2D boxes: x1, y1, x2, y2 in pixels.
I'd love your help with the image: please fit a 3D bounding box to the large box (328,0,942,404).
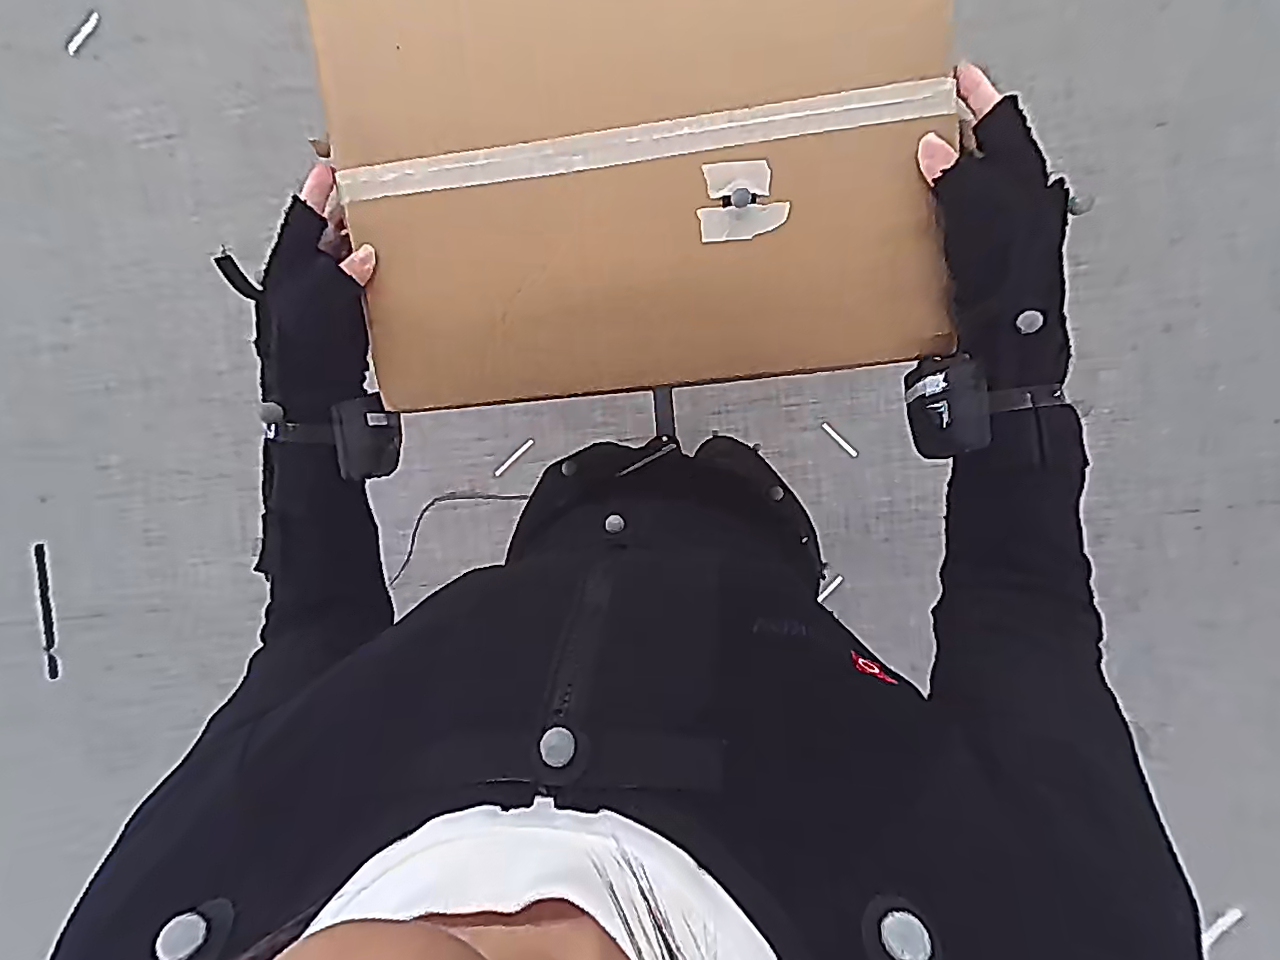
[{"bbox_3d":[0.005,-0.253,0.516,0.408,0.320,0.320,-6,100,4],"label":"large box"}]
